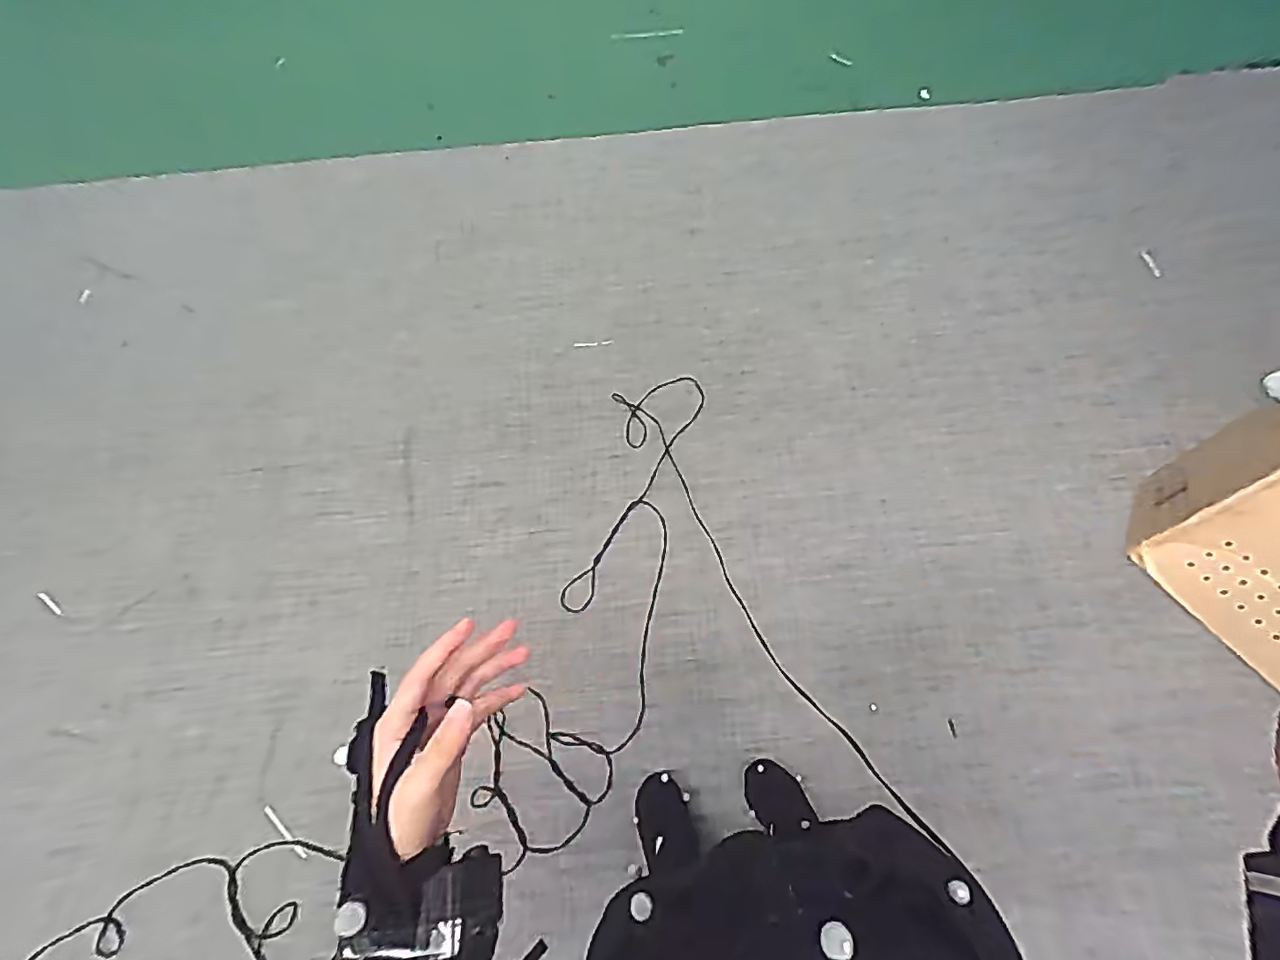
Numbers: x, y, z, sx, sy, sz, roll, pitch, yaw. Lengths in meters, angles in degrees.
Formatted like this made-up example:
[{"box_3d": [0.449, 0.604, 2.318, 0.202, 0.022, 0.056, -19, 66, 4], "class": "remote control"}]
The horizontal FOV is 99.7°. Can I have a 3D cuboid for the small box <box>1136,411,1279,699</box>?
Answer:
[{"box_3d": [0.335, 0.033, 0.195, 0.168, 0.176, 0.179, -15, 58, -45], "class": "small box"}]
